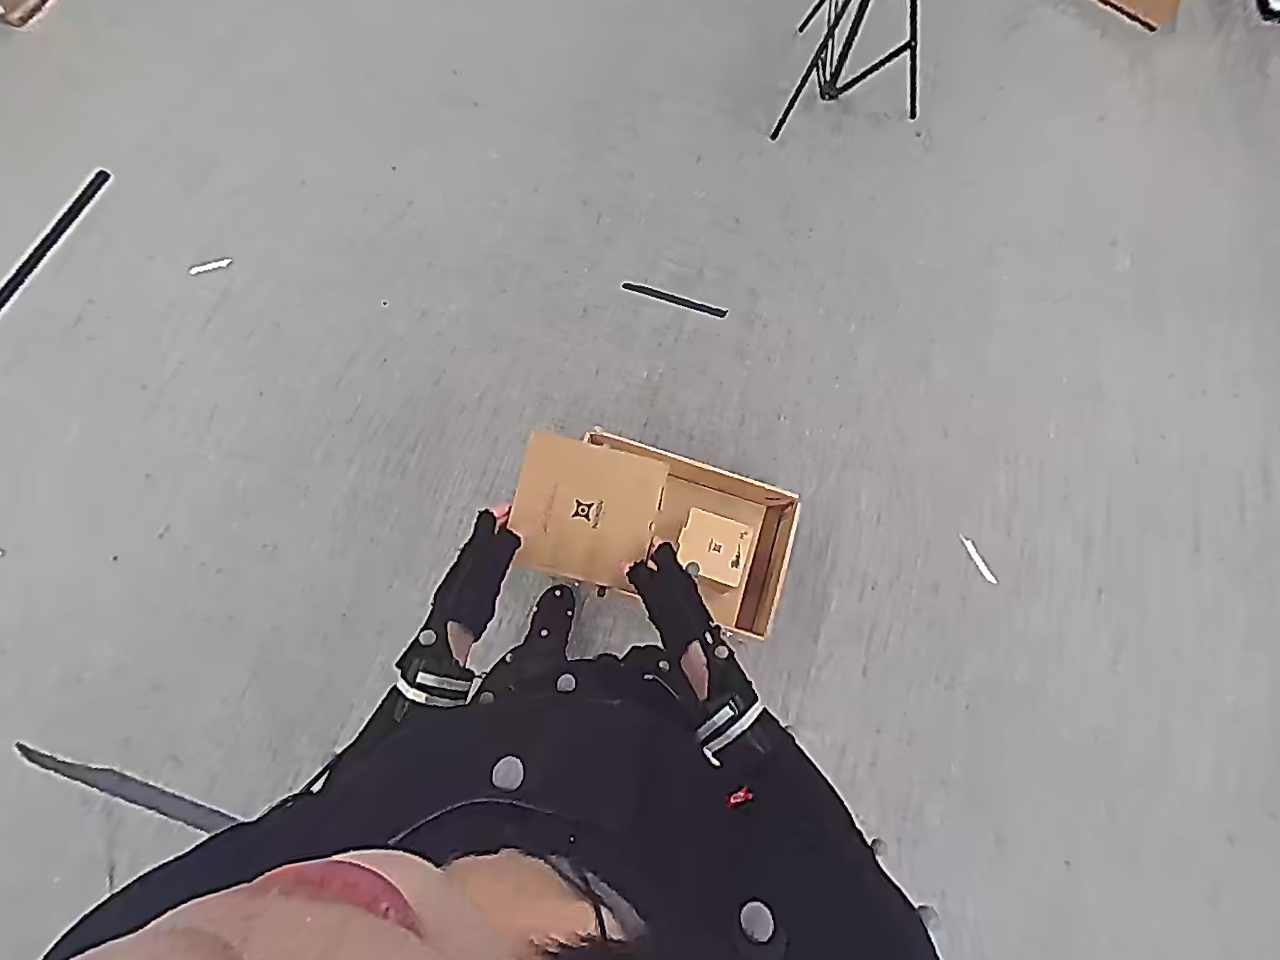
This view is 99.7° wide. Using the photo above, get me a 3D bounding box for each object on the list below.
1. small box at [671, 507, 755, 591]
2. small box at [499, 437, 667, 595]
[{"bbox_3d":[0.189,0.193,1.459,0.179,0.176,0.168,19,74,4],"label":"small box"},{"bbox_3d":[-0.072,0.057,0.729,0.179,0.176,0.168,11,76,-2],"label":"small box"}]
